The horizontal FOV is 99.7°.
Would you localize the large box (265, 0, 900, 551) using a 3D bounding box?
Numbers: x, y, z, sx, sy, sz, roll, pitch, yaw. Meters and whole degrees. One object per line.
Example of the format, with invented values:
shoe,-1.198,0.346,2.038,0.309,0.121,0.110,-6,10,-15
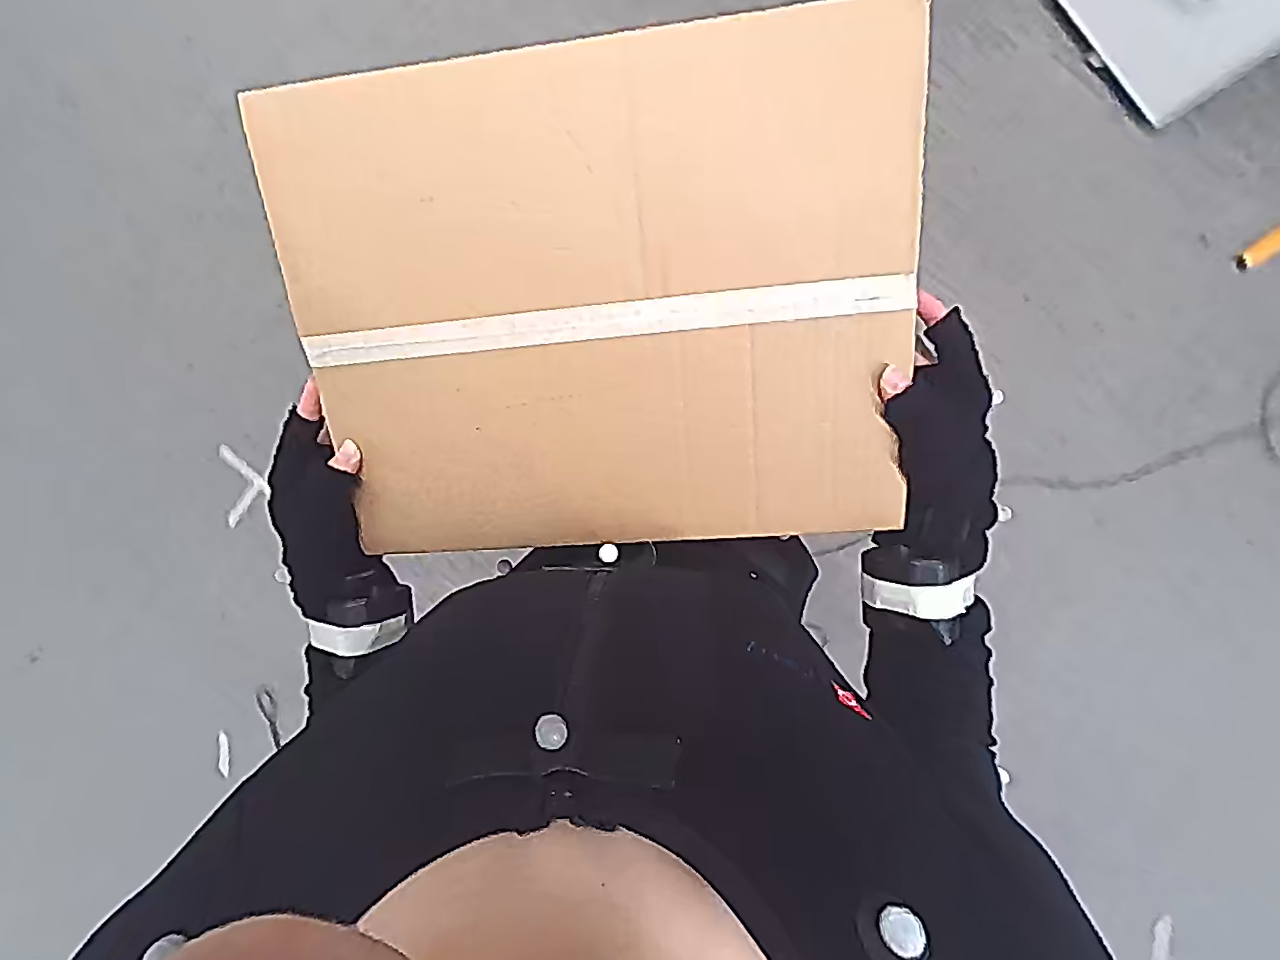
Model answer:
large box,-0.020,-0.150,0.510,0.408,0.320,0.320,-5,108,7
